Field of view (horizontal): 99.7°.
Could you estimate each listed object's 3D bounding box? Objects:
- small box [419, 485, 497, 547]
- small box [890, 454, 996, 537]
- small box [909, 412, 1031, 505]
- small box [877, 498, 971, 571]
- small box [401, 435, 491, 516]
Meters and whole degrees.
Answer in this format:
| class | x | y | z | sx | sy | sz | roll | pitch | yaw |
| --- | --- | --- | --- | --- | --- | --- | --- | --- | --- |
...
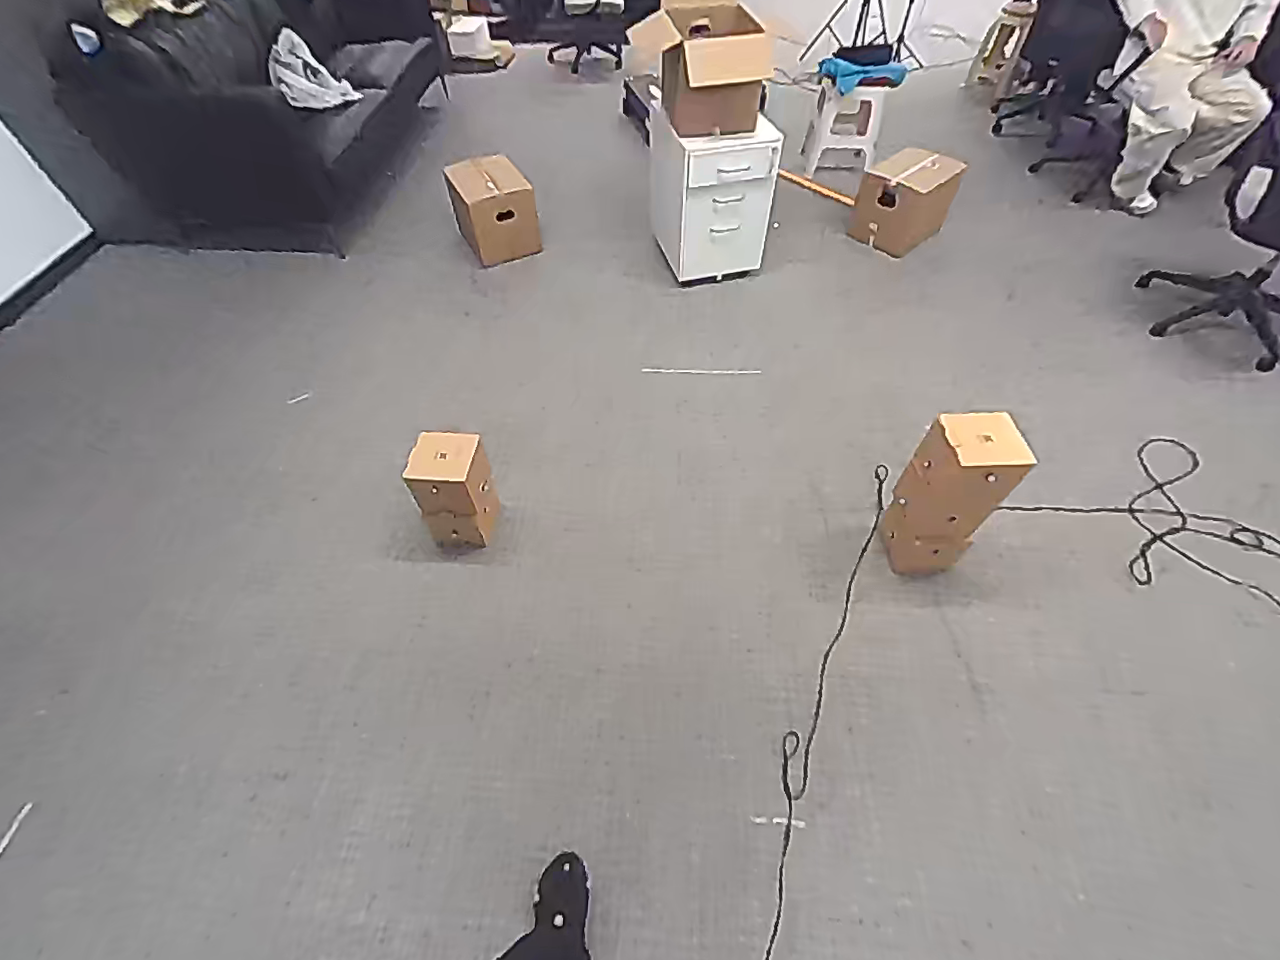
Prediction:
| class | x | y | z | sx | sy | sz | roll | pitch | yaw |
| --- | --- | --- | --- | --- | --- | --- | --- | --- | --- |
| small box | -0.556 | 0.094 | 1.679 | 0.168 | 0.176 | 0.179 | 3 | 52 | 3 |
| small box | 0.816 | 0.044 | 1.477 | 0.179 | 0.176 | 0.168 | -2 | 52 | 1 |
| small box | 0.809 | -0.052 | 1.345 | 0.179 | 0.176 | 0.168 | -3 | 52 | 0 |
| small box | 0.823 | 0.158 | 1.595 | 0.179 | 0.176 | 0.168 | -4 | 53 | -2 |
| small box | -0.549 | -0.010 | 1.553 | 0.179 | 0.176 | 0.168 | 3 | 54 | 3 |
